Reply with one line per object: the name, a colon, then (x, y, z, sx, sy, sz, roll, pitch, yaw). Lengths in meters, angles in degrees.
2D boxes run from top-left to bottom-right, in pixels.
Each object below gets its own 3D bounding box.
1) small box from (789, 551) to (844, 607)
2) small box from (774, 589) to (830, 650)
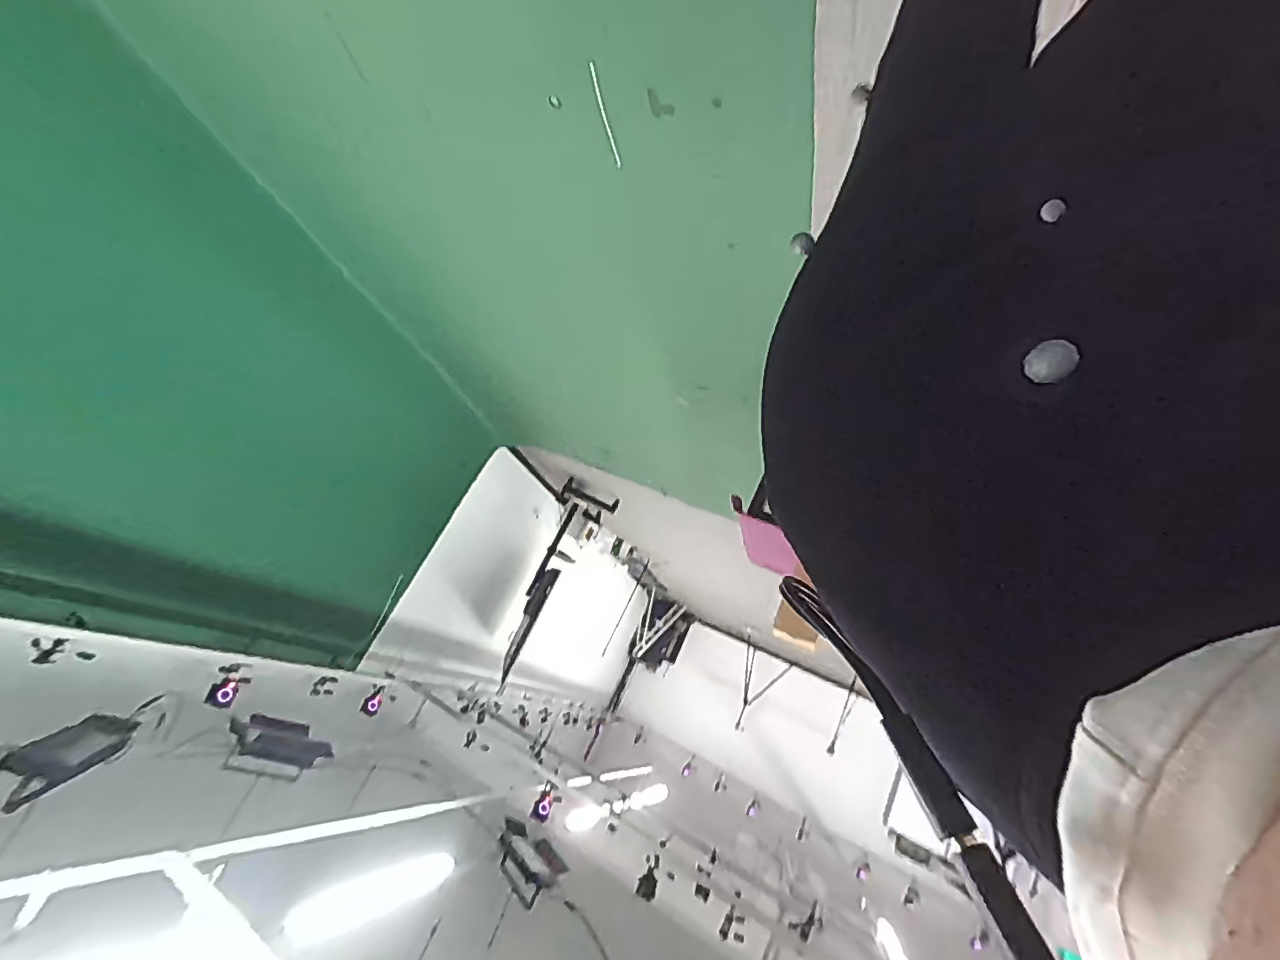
small box: (0.703, 0.407, 2.164, 0.168, 0.176, 0.179, 19, 161, 22)
small box: (0.629, 0.539, 2.099, 0.168, 0.176, 0.179, 18, 163, 24)
